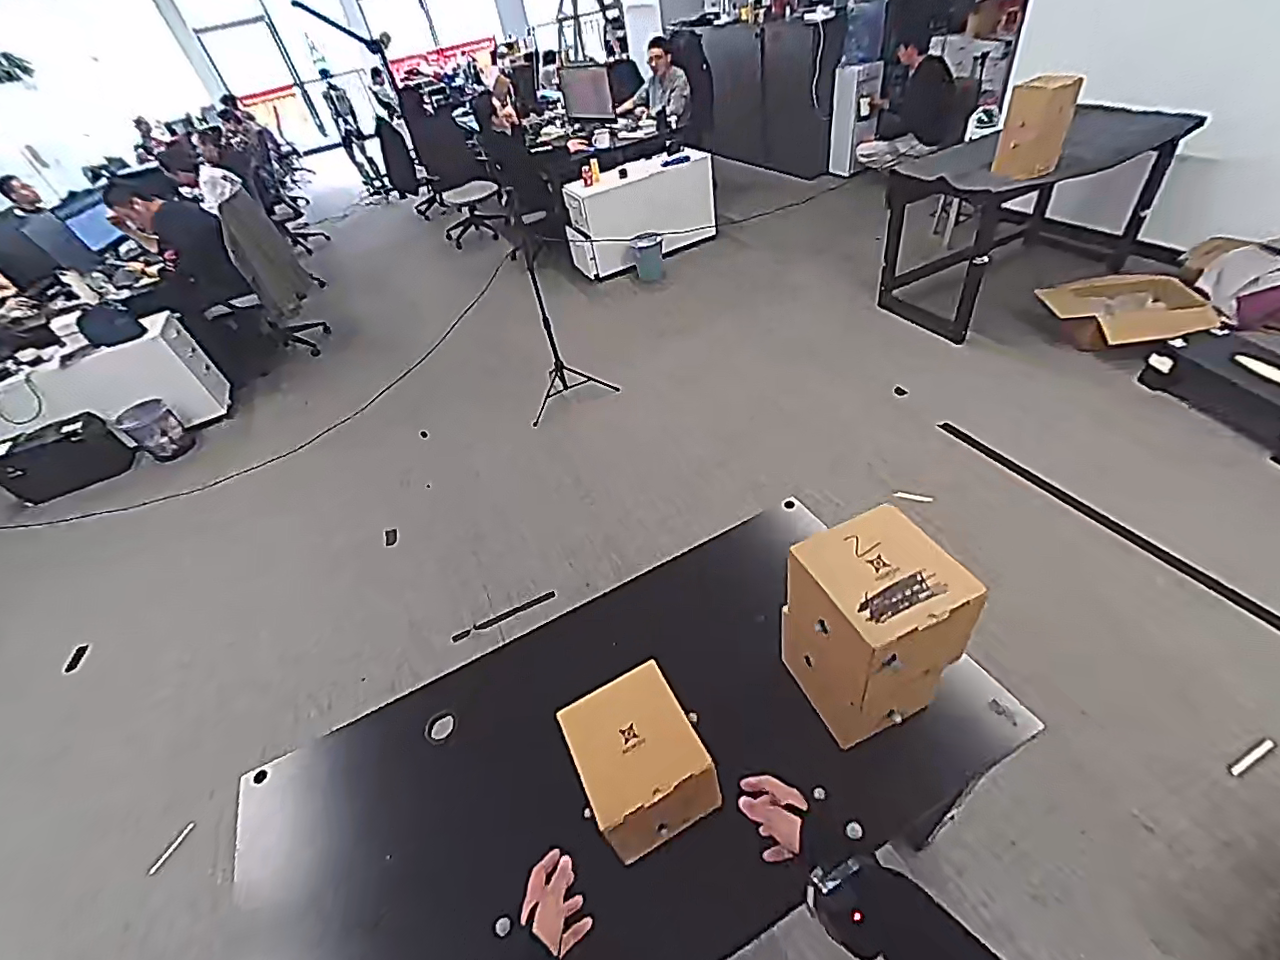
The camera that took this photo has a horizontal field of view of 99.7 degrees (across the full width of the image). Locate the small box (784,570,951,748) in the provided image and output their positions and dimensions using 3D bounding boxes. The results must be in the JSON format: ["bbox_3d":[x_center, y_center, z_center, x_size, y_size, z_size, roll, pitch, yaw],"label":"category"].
[{"bbox_3d":[0.342,0.281,0.852,0.168,0.176,0.179,-23,43,-9],"label":"small box"}]

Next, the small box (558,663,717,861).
[{"bbox_3d":[-0.001,0.415,0.798,0.168,0.176,0.179,-25,44,-13],"label":"small box"}]
